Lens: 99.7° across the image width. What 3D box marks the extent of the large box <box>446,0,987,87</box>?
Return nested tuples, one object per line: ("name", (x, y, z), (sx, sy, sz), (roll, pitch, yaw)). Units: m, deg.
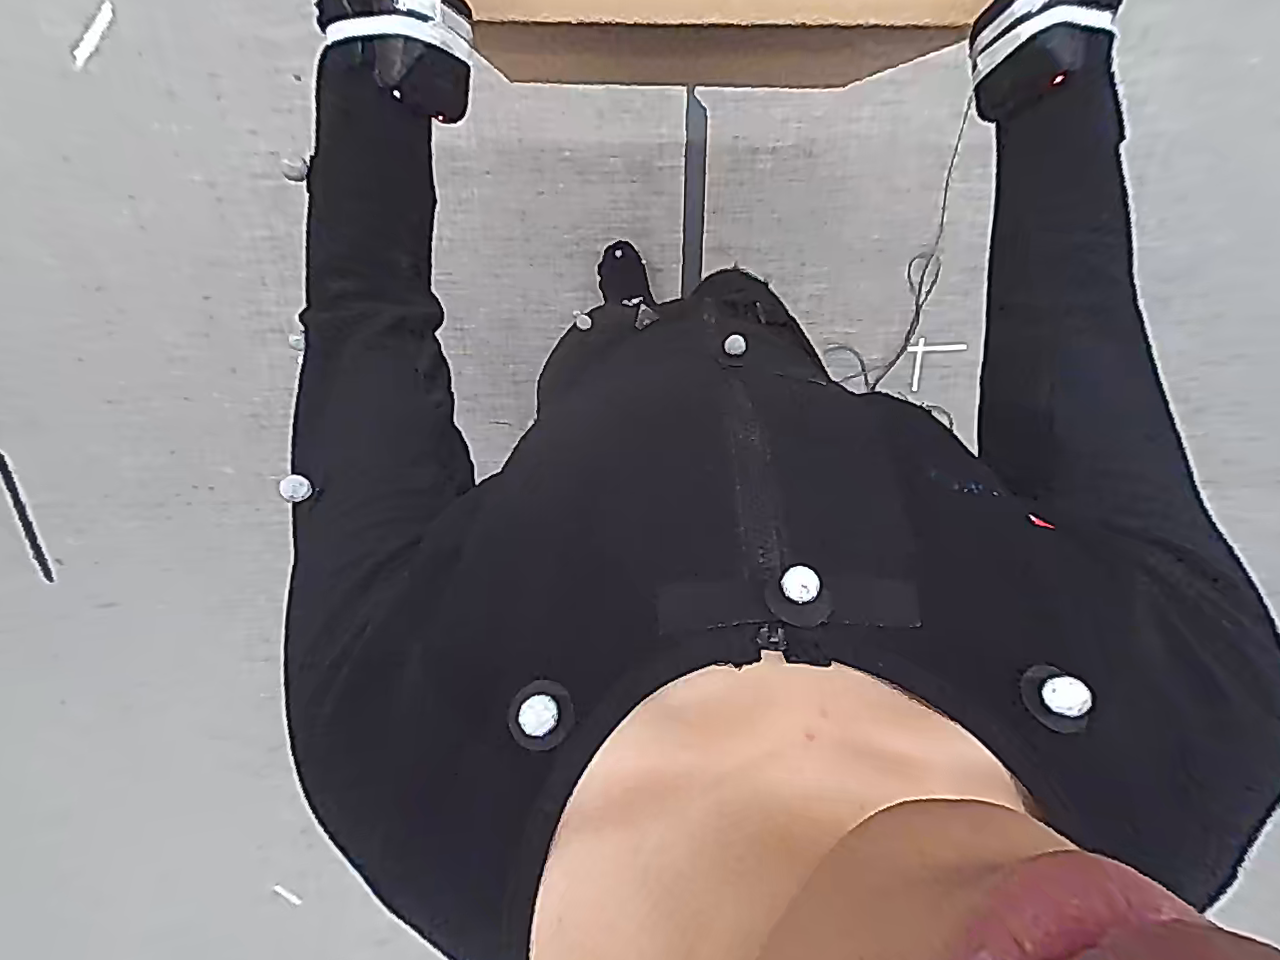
("large box", (0.046, -0.540, 0.449), (0.408, 0.320, 0.320), (-2, 120, -3))
